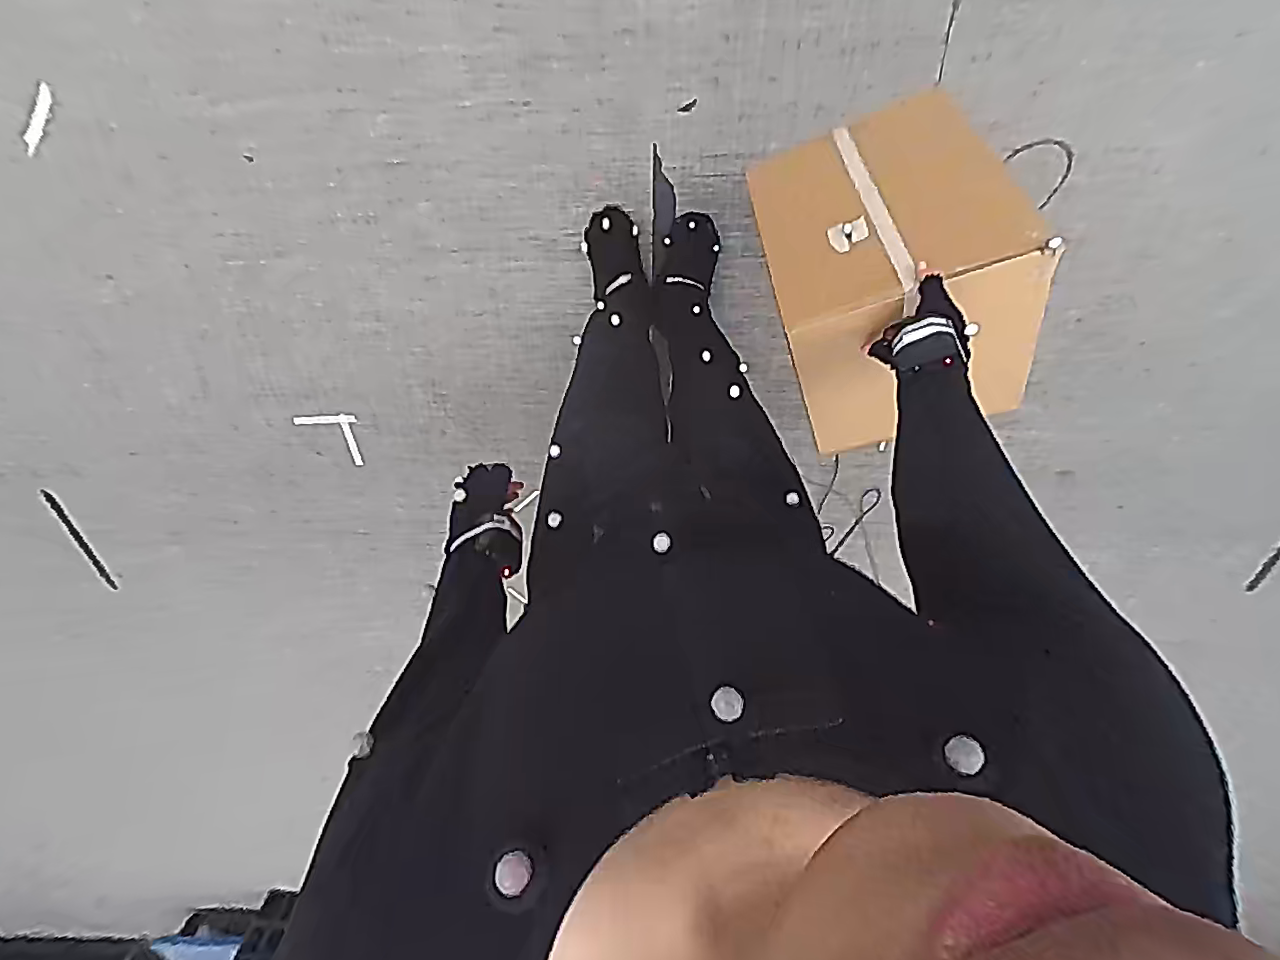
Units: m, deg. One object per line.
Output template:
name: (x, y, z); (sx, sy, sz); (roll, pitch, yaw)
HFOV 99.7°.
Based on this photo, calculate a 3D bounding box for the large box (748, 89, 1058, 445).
large box: (0.393, -0.329, 0.895); (0.320, 0.408, 0.320); (-15, 148, 19)
